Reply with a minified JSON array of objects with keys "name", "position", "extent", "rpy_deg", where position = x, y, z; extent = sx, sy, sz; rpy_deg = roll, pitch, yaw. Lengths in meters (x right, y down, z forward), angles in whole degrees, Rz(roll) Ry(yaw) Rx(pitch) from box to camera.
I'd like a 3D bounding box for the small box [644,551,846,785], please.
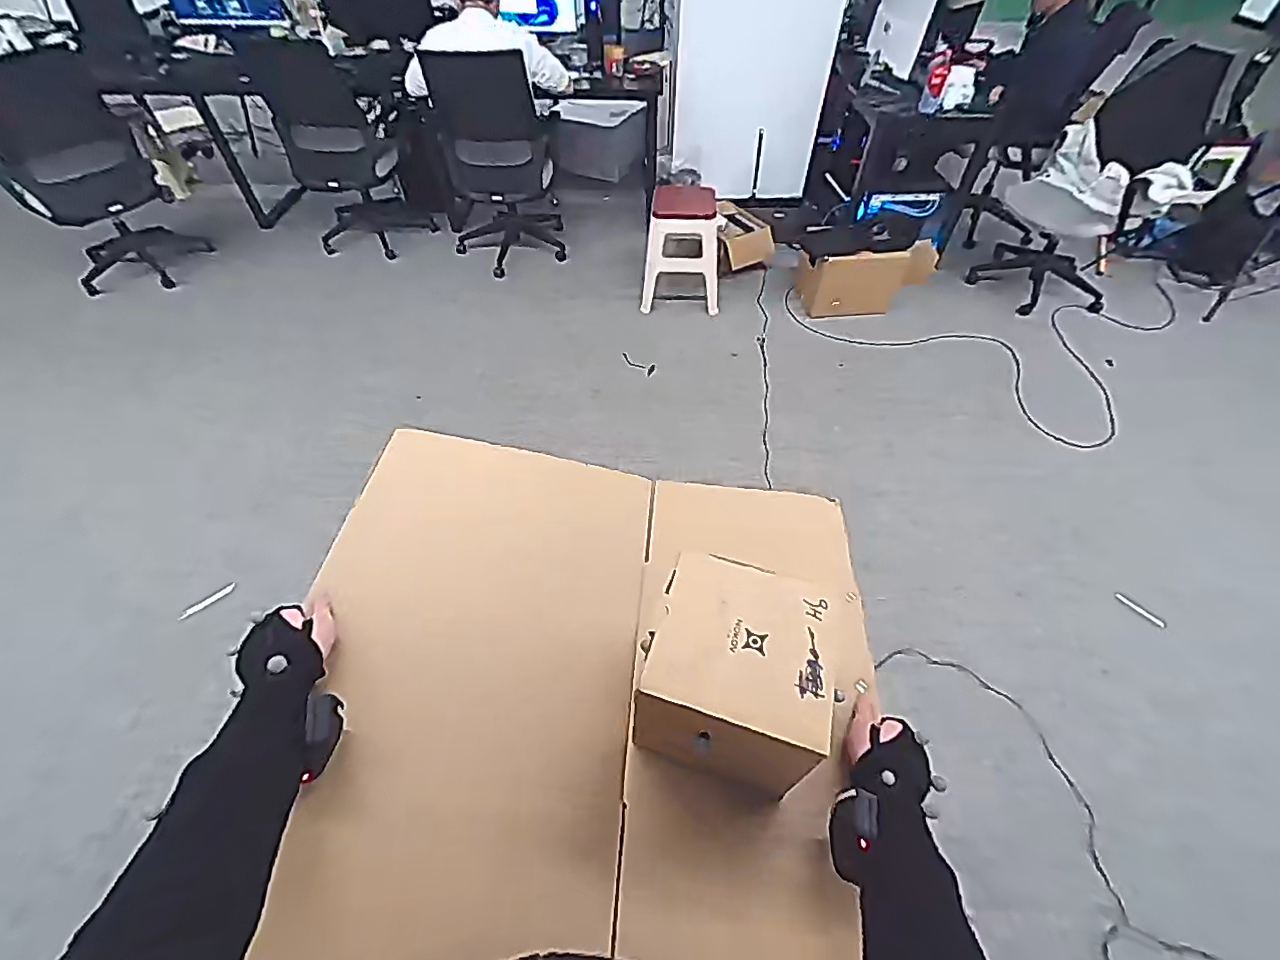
[{"name":"small box","position":[0.108,0.208,0.594],"extent":[0.179,0.176,0.168],"rpy_deg":[15,50,11]}]
